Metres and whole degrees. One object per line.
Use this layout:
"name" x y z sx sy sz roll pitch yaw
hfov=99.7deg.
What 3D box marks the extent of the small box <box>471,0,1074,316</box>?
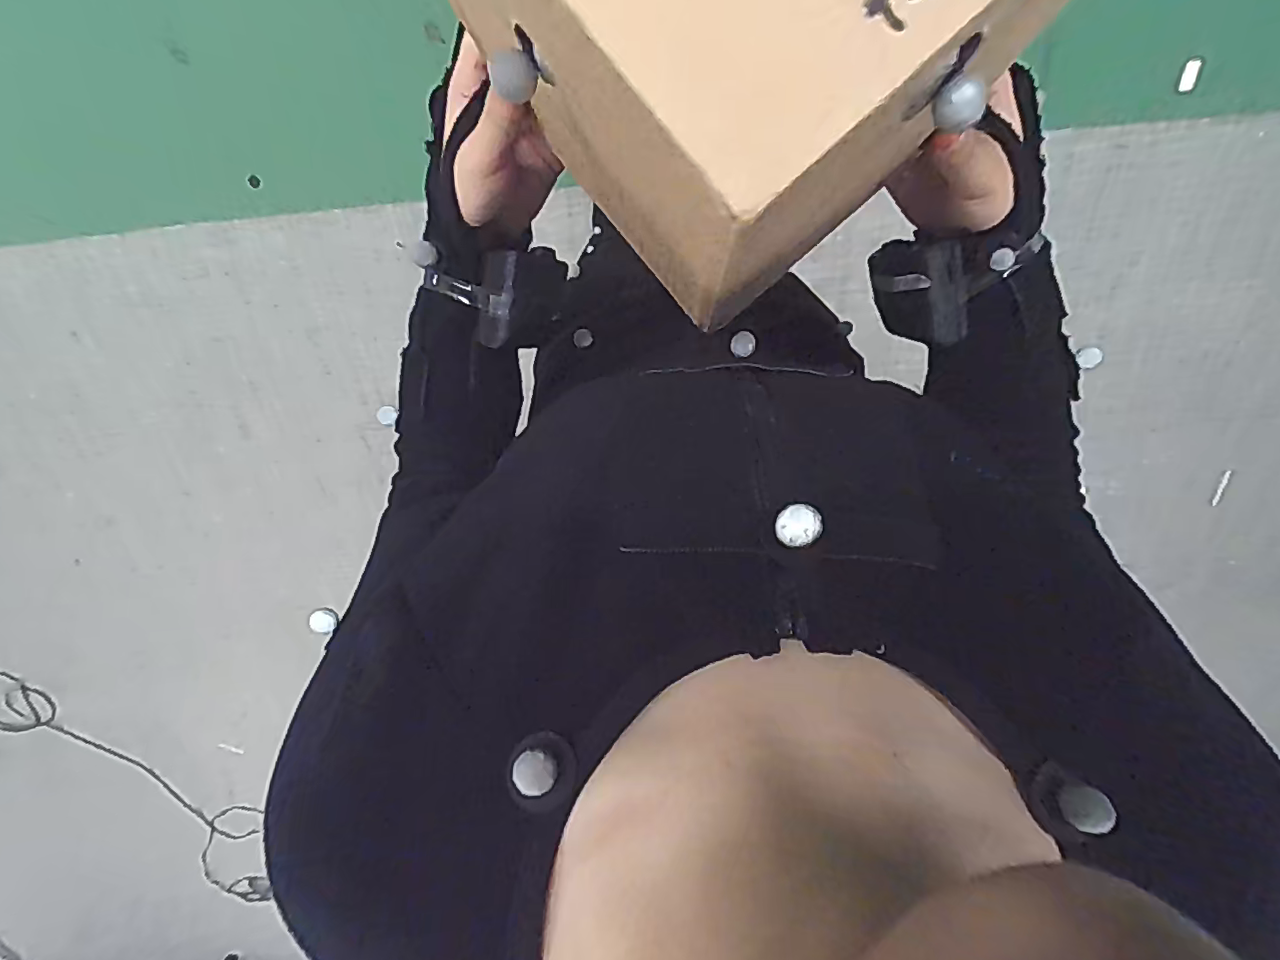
"small box" 0.040 -0.186 0.196 0.168 0.176 0.179 -41 92 8
